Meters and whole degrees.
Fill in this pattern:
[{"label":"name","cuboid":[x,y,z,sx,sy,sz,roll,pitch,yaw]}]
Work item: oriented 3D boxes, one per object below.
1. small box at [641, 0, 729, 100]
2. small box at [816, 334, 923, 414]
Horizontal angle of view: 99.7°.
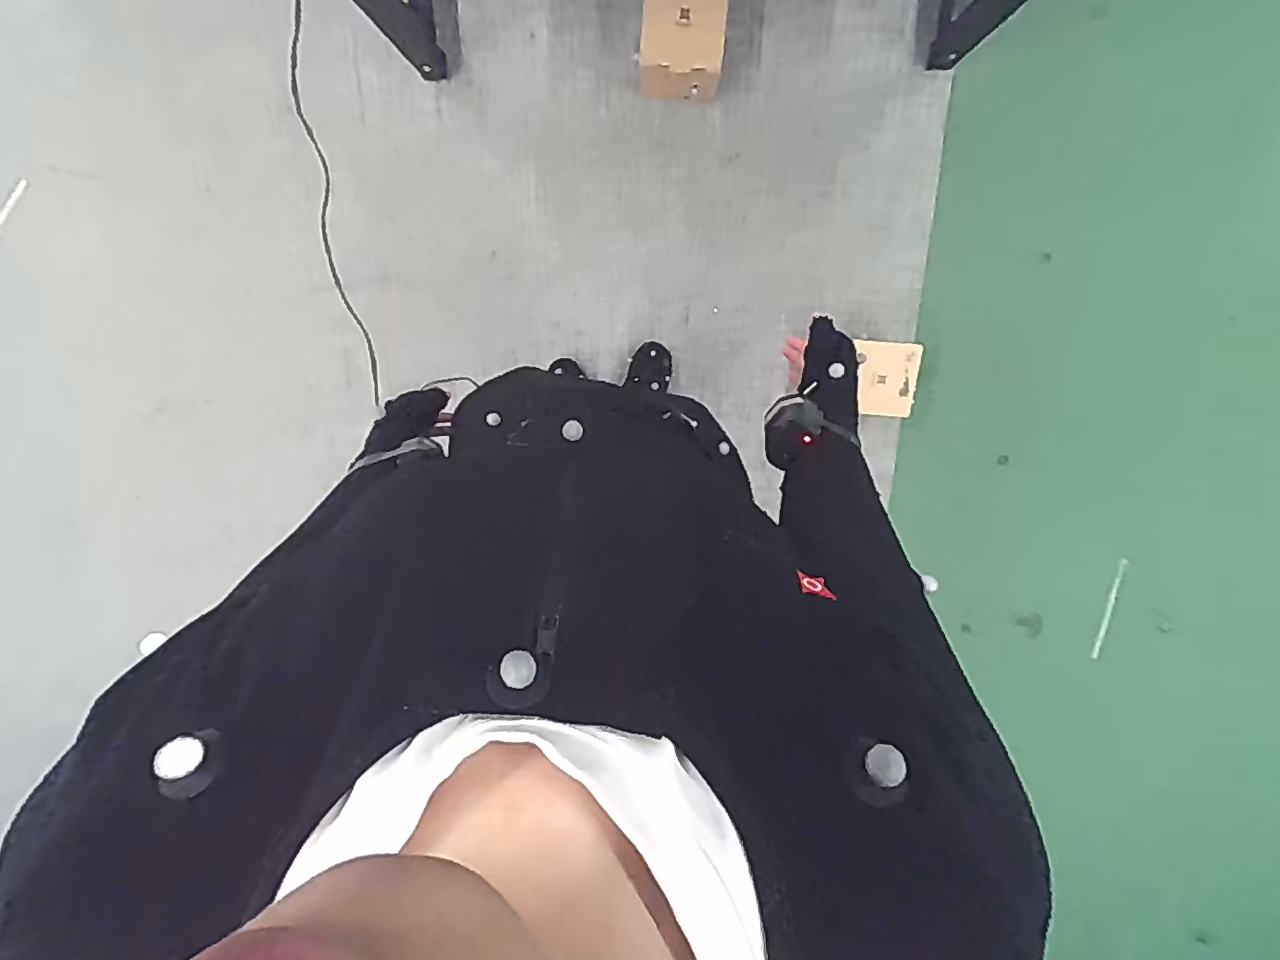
[{"label":"small box","cuboid":[0.092,-0.927,1.128,0.168,0.176,0.179,4,104,0]},{"label":"small box","cuboid":[0.541,-0.260,1.305,0.179,0.176,0.168,6,106,1]}]
